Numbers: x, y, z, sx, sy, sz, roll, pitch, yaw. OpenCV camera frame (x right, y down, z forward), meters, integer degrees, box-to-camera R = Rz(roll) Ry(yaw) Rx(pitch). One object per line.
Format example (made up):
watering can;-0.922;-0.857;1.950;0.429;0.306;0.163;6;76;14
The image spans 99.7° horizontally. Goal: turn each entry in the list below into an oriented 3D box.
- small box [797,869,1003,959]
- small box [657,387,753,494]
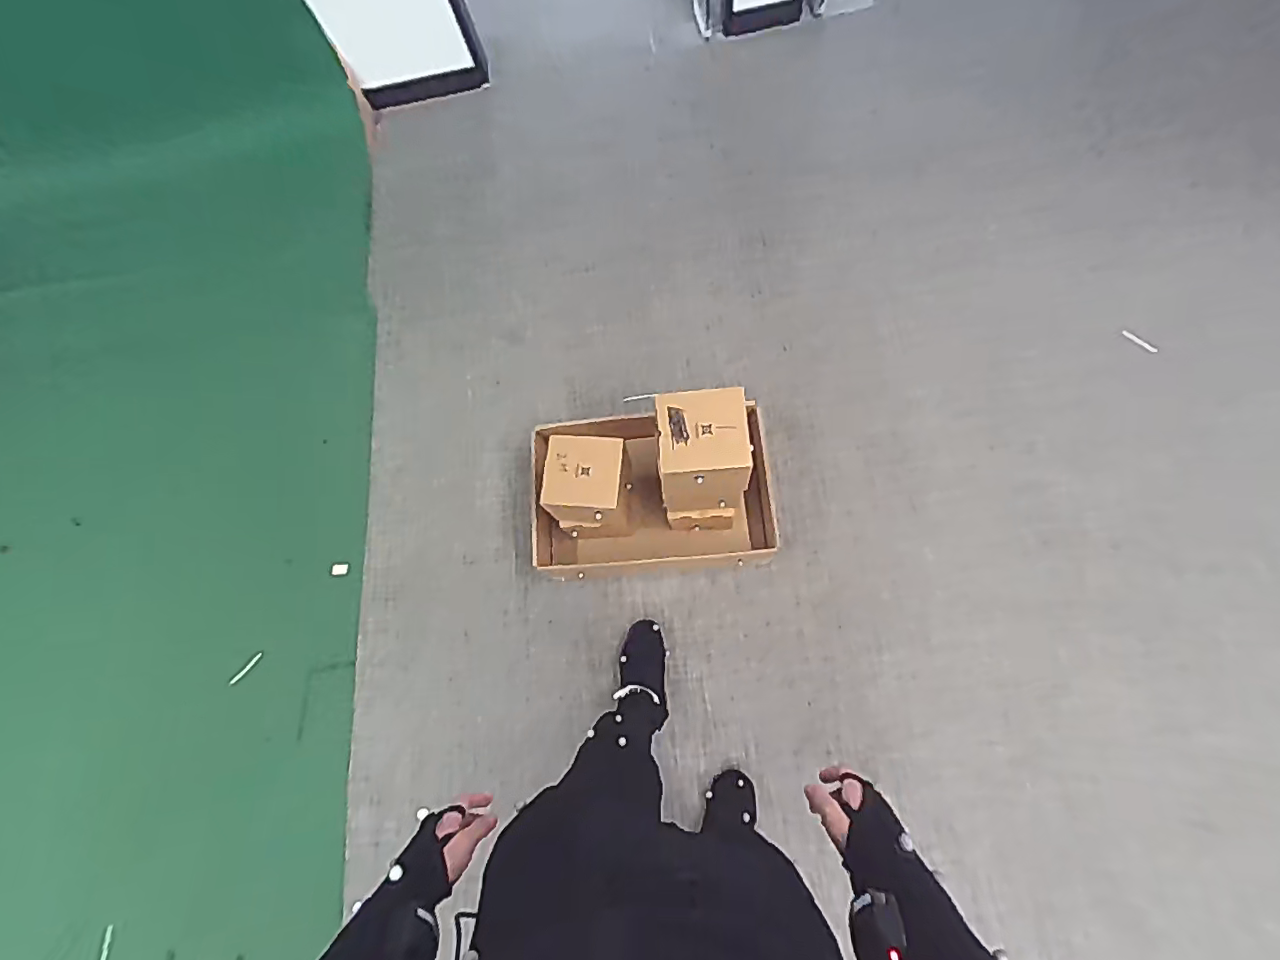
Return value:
small box;0.195;0.429;0.383;0.179;0.176;0.168;17;77;24
small box;0.132;-0.073;1.108;0.179;0.176;0.168;-4;73;6
